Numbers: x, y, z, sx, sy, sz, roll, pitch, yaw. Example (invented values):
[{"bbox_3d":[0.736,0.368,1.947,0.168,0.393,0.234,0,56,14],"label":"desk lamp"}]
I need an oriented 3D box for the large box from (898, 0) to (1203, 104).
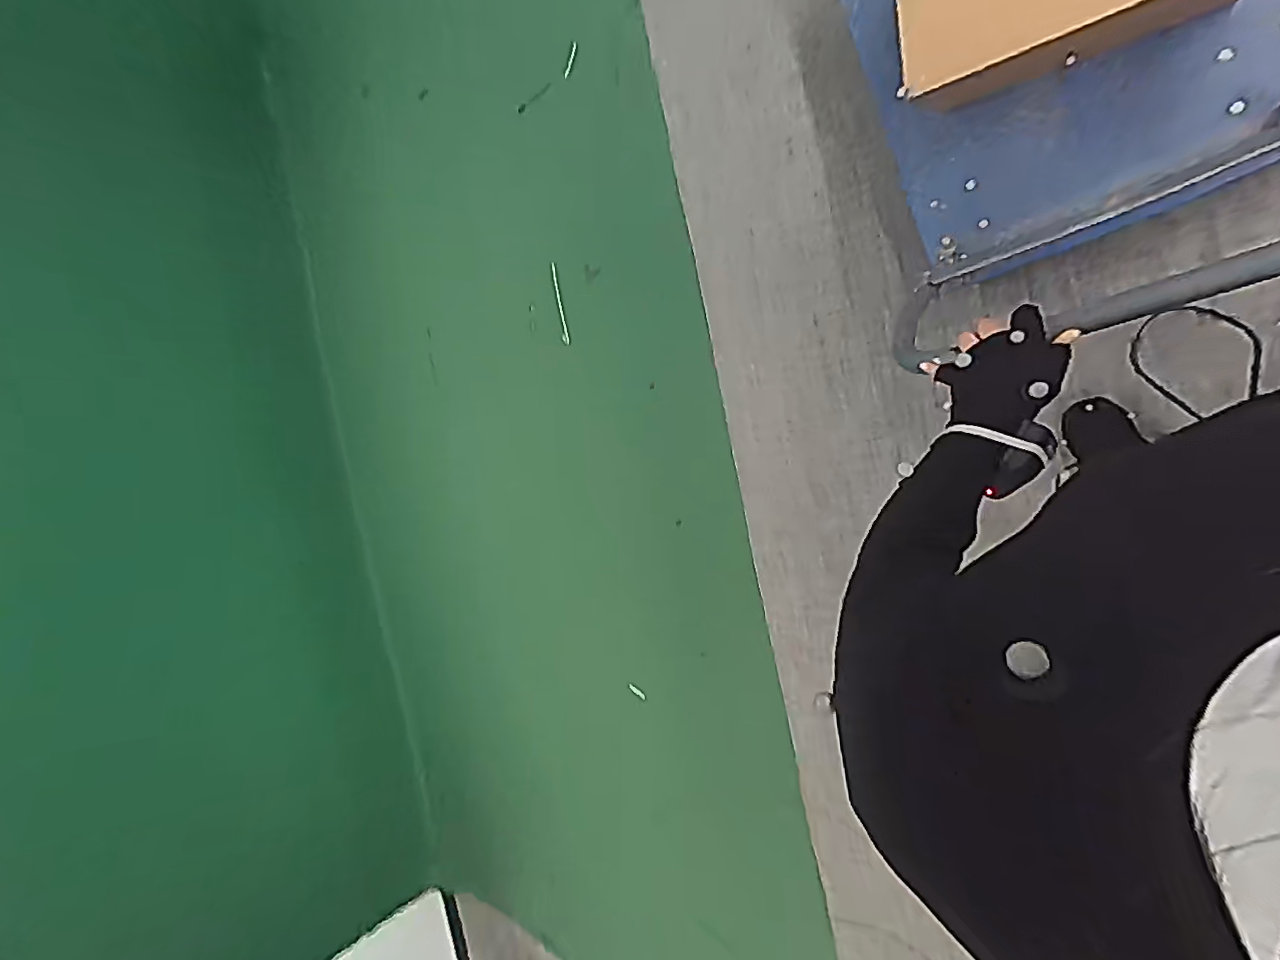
[{"bbox_3d":[0.622,-0.809,0.784,0.408,0.320,0.320,0,114,40],"label":"large box"}]
